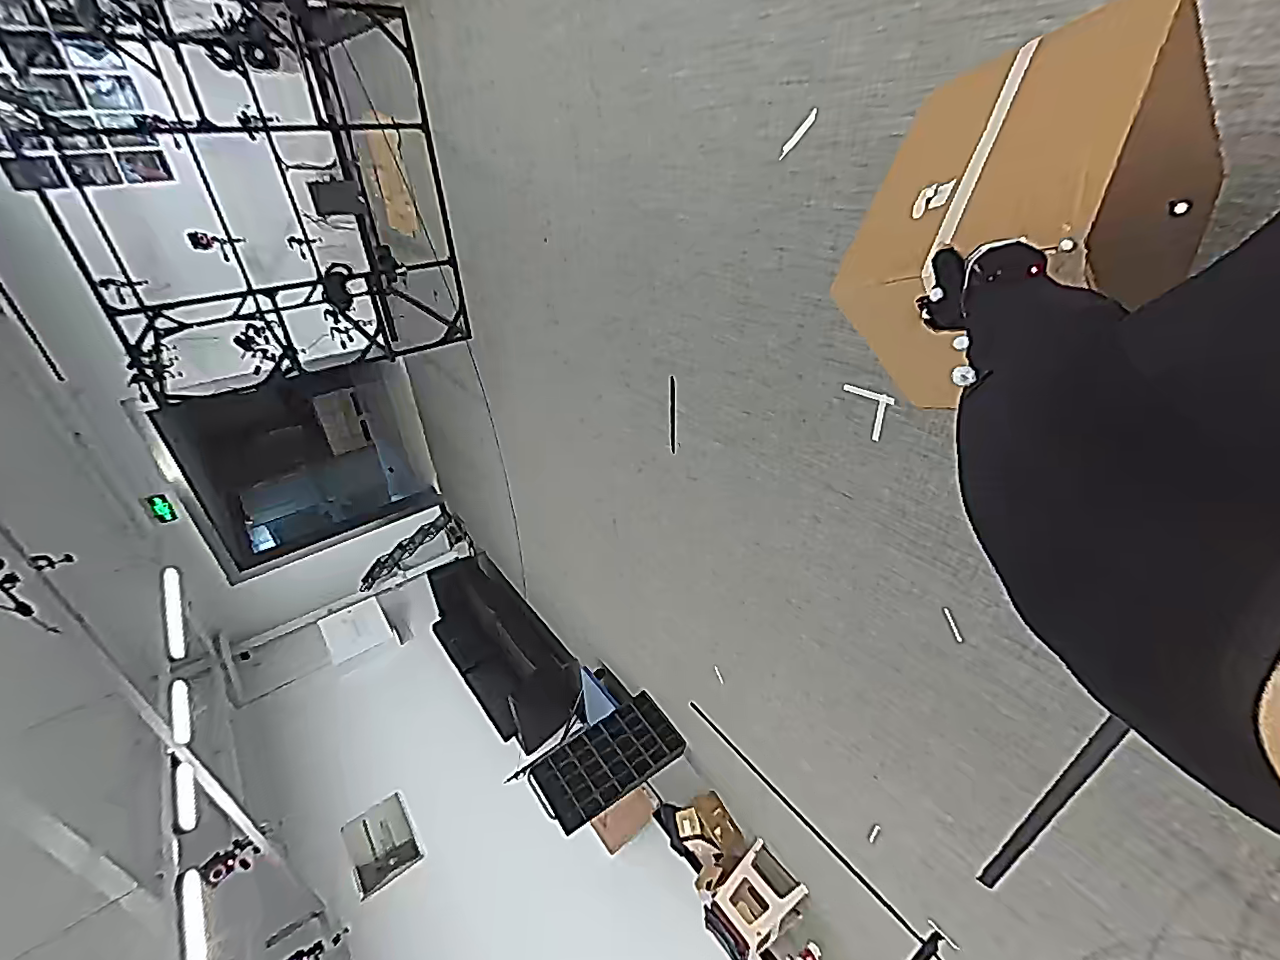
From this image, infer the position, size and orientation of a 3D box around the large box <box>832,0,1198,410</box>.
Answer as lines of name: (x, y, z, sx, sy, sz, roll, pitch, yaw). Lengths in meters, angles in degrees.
large box: (0.563, -0.354, 0.809, 0.320, 0.408, 0.320, 33, 168, -32)
